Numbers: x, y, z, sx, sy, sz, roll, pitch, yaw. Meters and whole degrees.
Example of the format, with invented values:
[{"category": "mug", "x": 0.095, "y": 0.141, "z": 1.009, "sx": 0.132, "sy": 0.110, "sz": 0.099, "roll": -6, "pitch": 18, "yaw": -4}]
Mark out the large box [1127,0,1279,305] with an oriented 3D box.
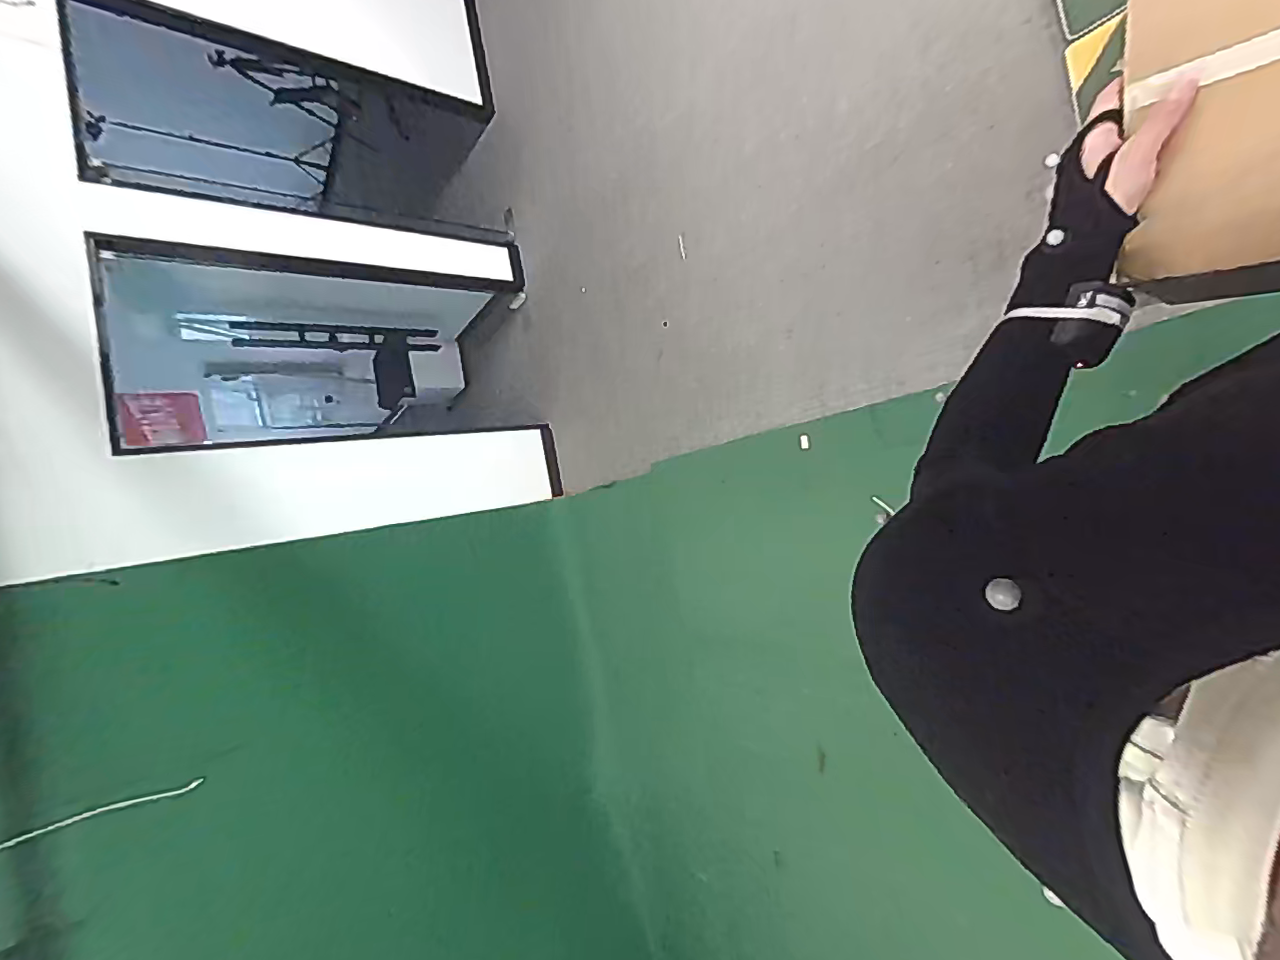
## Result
[{"category": "large box", "x": 0.675, "y": -0.344, "z": 0.427, "sx": 0.408, "sy": 0.320, "sz": 0.320, "roll": 4, "pitch": 102, "yaw": 49}]
